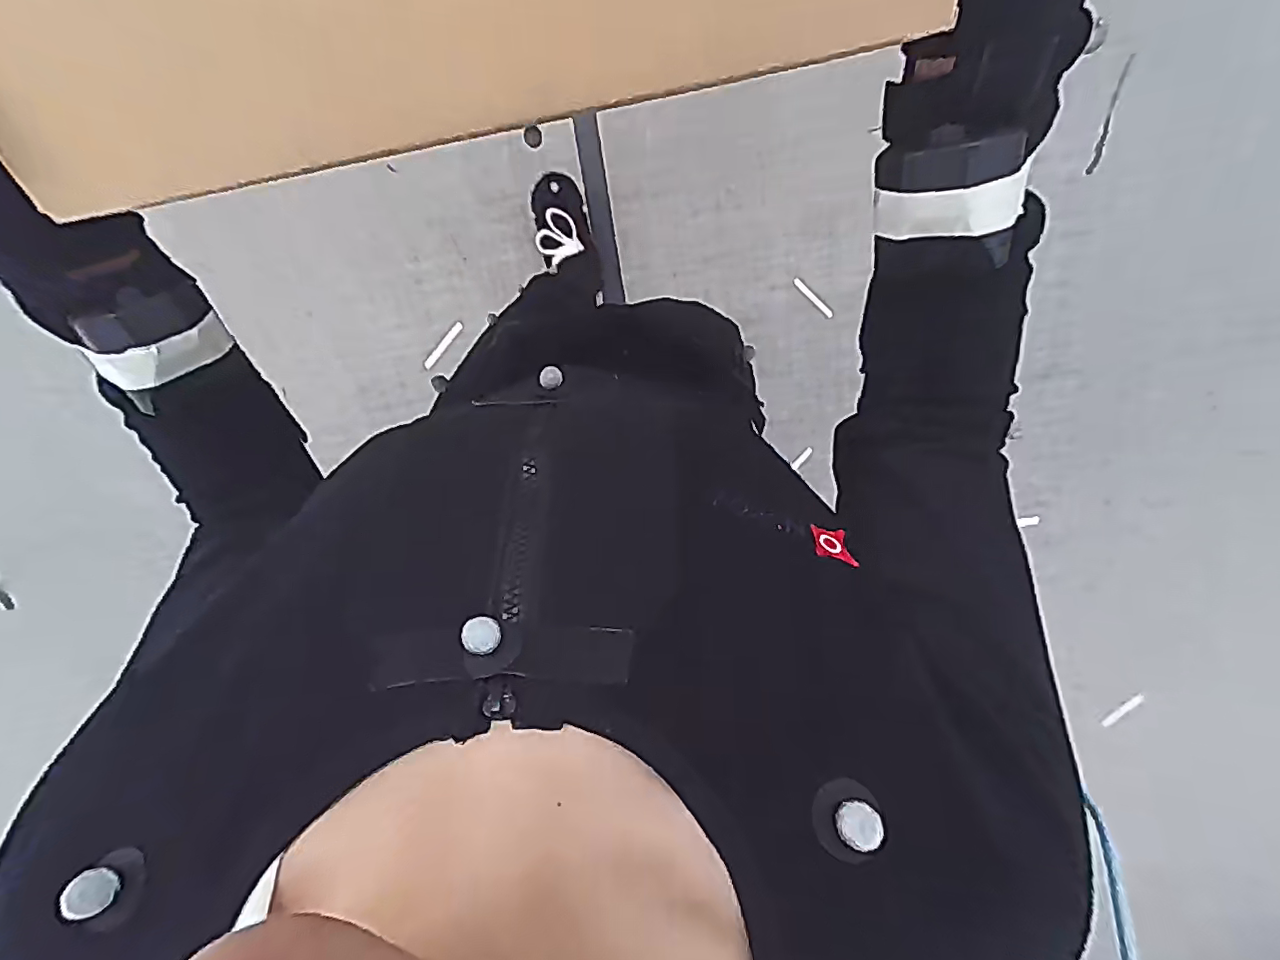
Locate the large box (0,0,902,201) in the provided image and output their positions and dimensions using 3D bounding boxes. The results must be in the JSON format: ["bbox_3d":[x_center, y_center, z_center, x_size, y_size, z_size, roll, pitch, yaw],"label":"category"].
[{"bbox_3d":[-0.106,-0.373,0.272,0.408,0.320,0.320,-9,126,6],"label":"large box"}]
